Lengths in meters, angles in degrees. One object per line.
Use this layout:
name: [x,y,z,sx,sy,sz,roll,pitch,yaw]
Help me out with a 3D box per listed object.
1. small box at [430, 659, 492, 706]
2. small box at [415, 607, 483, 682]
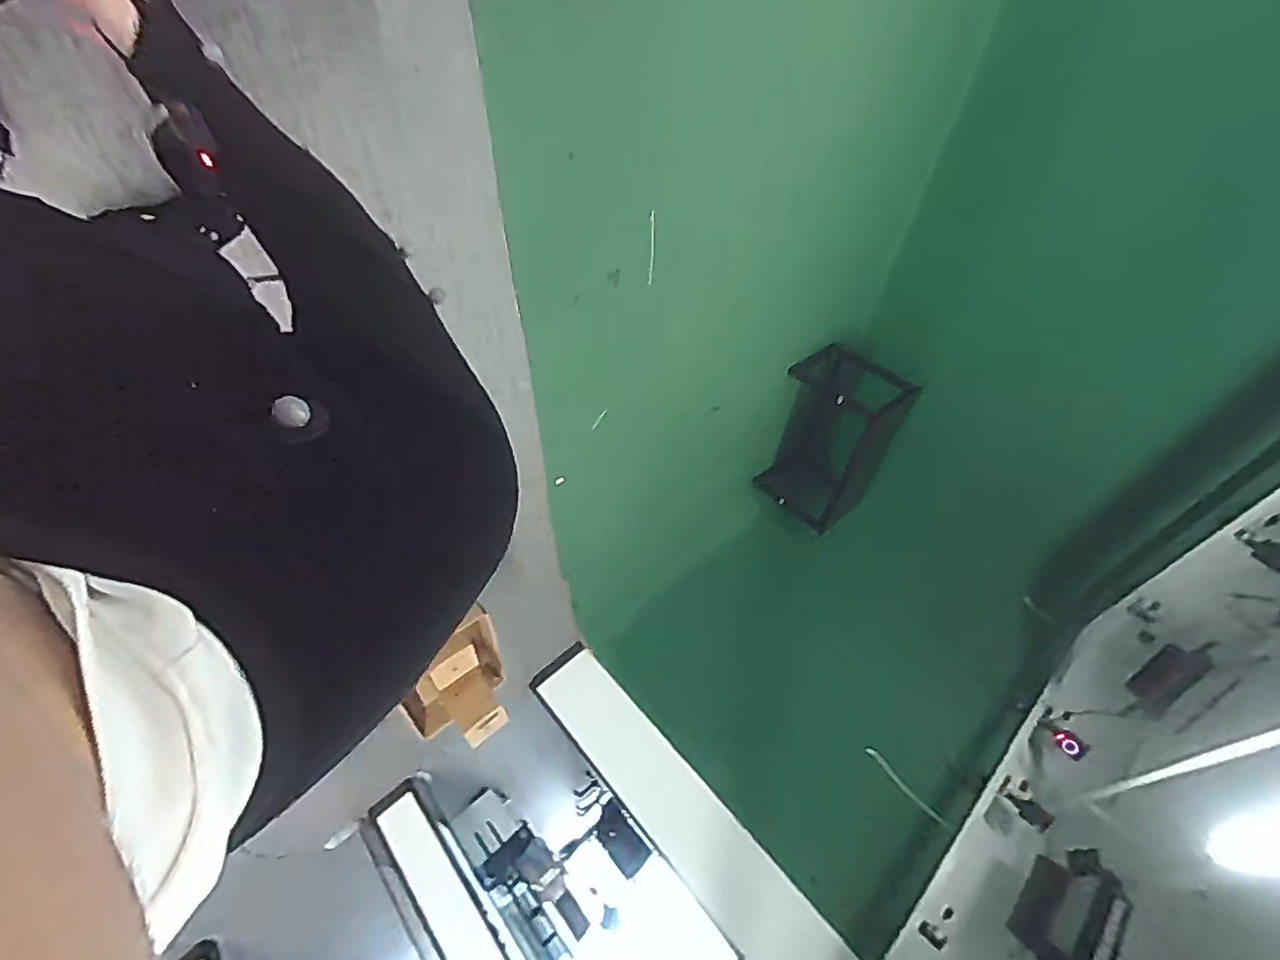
small box: [-0.723,0.772,2.189,0.168,0.176,0.179,-32,145,-27]
small box: [-0.703,0.603,2.000,0.168,0.176,0.179,-31,148,-29]
